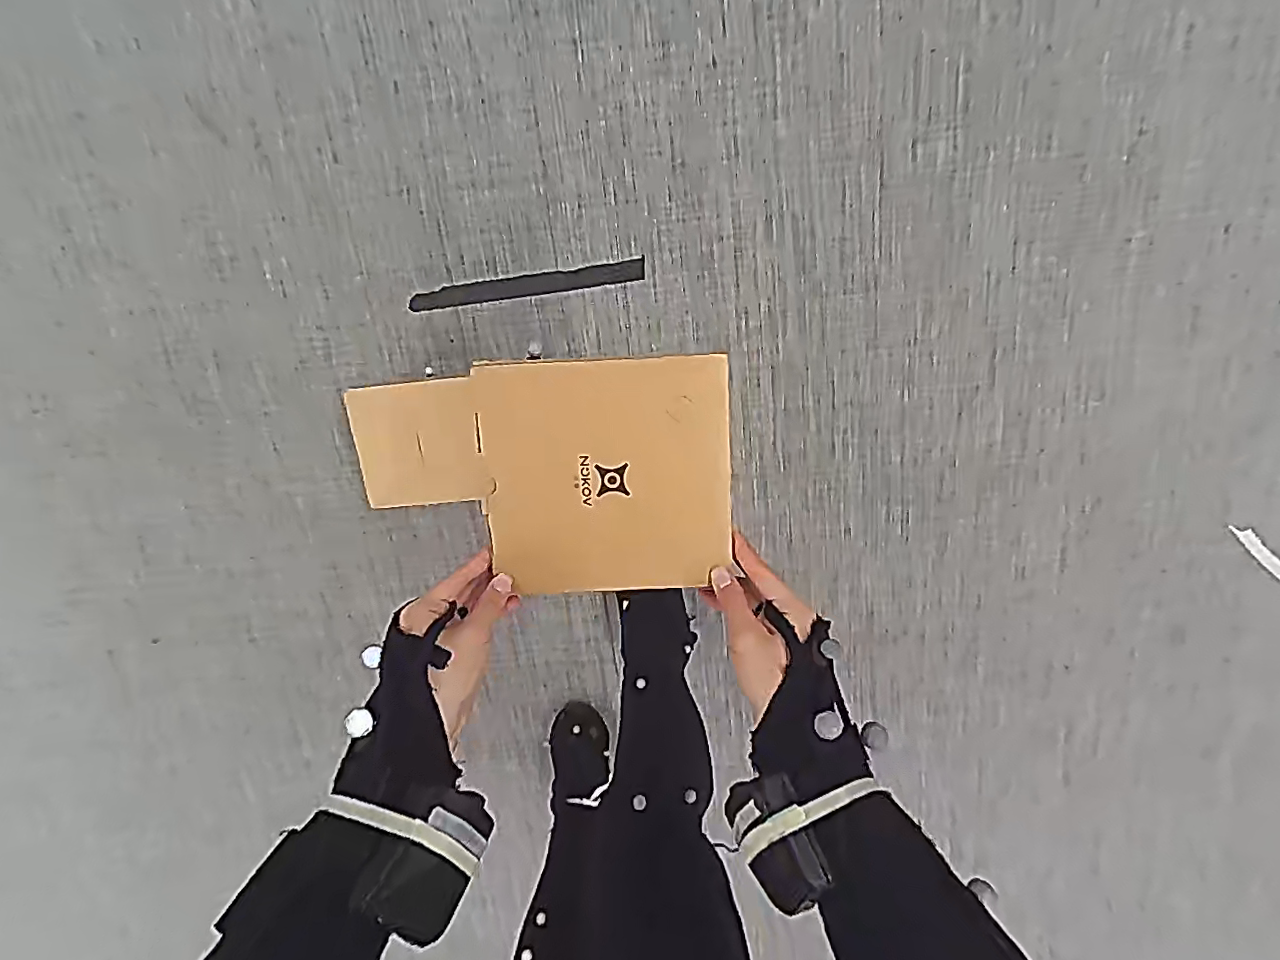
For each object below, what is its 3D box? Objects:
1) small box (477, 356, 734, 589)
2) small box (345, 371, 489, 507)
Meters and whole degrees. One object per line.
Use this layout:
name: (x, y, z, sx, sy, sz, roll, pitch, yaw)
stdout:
small box: (-0.021, -0.019, 0.459, 0.179, 0.176, 0.168, -3, 101, 2)
small box: (-0.288, -0.066, 0.791, 0.179, 0.176, 0.168, -5, 105, 3)
